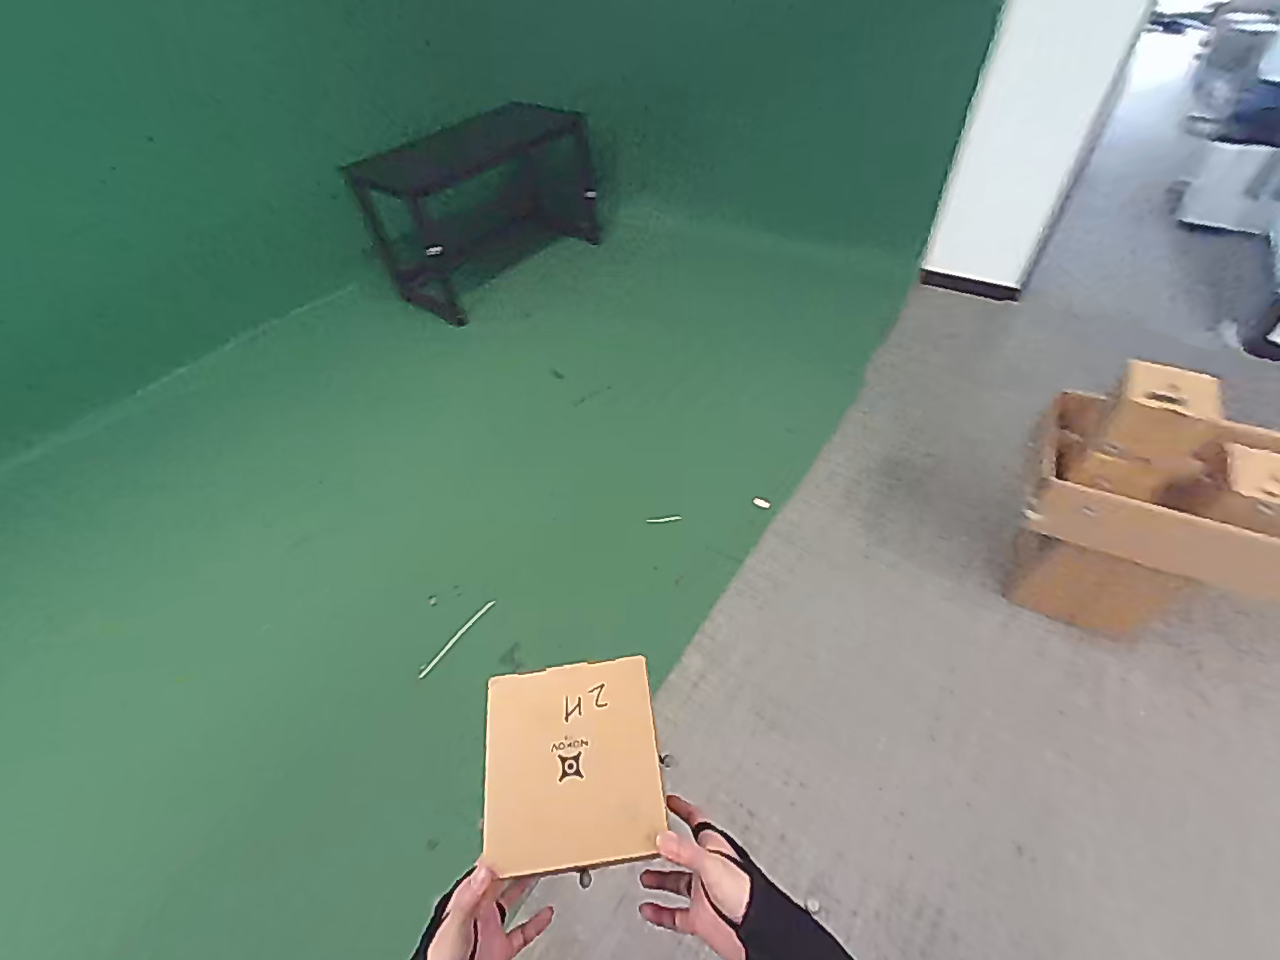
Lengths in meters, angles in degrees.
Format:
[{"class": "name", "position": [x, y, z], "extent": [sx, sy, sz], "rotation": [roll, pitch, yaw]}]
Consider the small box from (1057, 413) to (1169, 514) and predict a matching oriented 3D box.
[{"class": "small box", "position": [1.222, -0.040, 1.408], "extent": [0.168, 0.176, 0.179], "rotation": [19, 52, 22]}]

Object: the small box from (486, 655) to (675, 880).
[{"class": "small box", "position": [-0.053, 0.303, 0.569], "extent": [0.168, 0.176, 0.179], "rotation": [-6, 54, -1]}]

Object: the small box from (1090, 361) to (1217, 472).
[{"class": "small box", "position": [1.212, -0.149, 1.286], "extent": [0.168, 0.176, 0.179], "rotation": [23, 54, 24]}]
